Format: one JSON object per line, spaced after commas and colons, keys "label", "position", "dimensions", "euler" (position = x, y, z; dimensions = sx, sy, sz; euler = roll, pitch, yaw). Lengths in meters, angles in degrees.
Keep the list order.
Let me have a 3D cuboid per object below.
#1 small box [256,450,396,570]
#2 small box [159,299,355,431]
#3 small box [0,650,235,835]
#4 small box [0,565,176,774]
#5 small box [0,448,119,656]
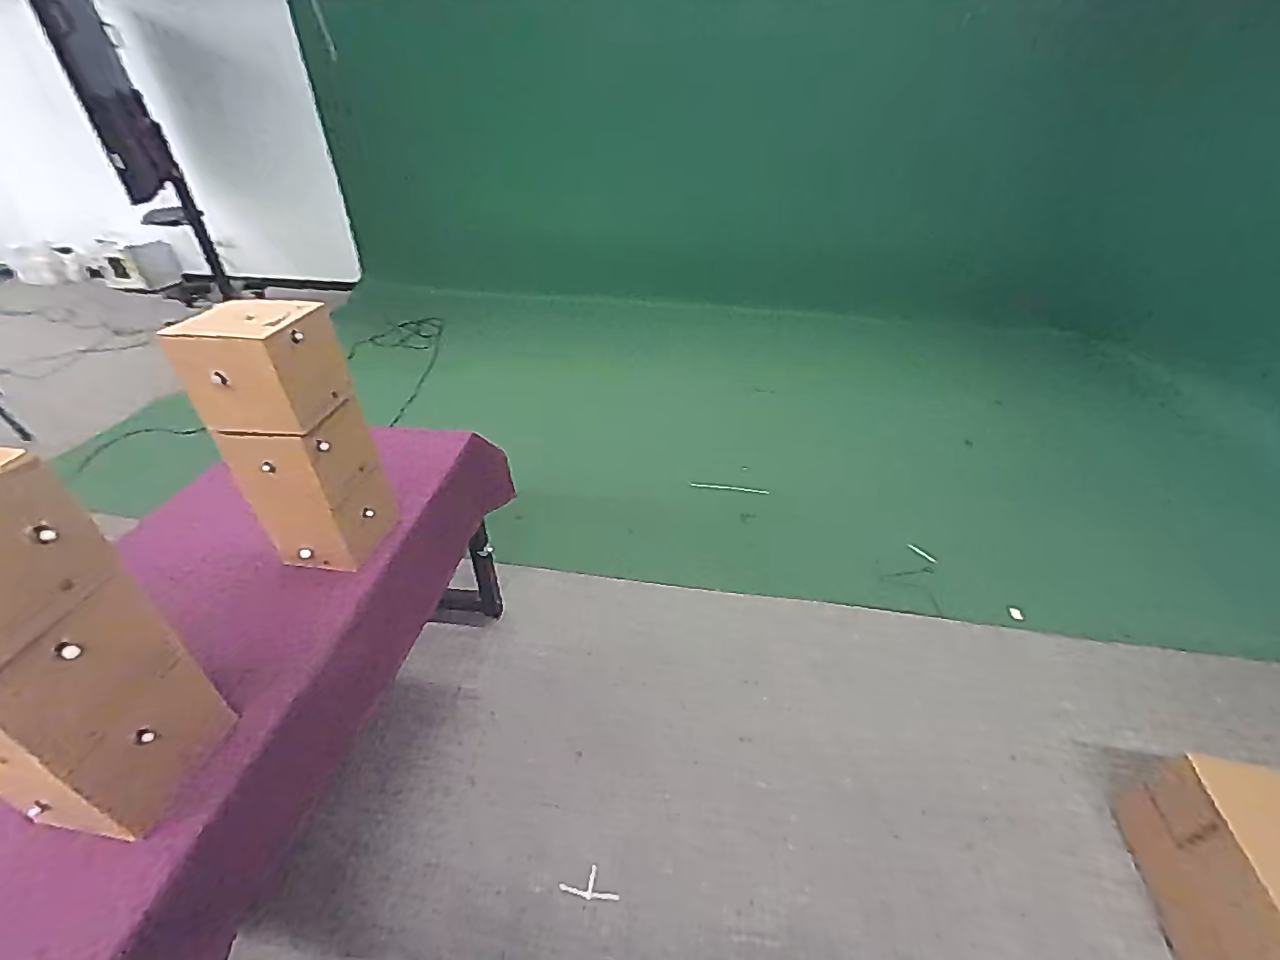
{"label": "small box", "position": [-0.631, 0.060, 1.119], "dimensions": [0.168, 0.176, 0.179], "euler": [5, 38, 7]}
{"label": "small box", "position": [-0.624, -0.193, 0.907], "dimensions": [0.179, 0.176, 0.168], "euler": [2, 37, 6]}
{"label": "small box", "position": [-0.708, 0.345, 0.732], "dimensions": [0.168, 0.176, 0.179], "euler": [6, 36, 7]}
{"label": "small box", "position": [-0.709, 0.211, 0.640], "dimensions": [0.168, 0.176, 0.179], "euler": [5, 38, 7]}
{"label": "small box", "position": [-0.706, 0.079, 0.544], "dimensions": [0.179, 0.176, 0.168], "euler": [3, 37, 6]}
